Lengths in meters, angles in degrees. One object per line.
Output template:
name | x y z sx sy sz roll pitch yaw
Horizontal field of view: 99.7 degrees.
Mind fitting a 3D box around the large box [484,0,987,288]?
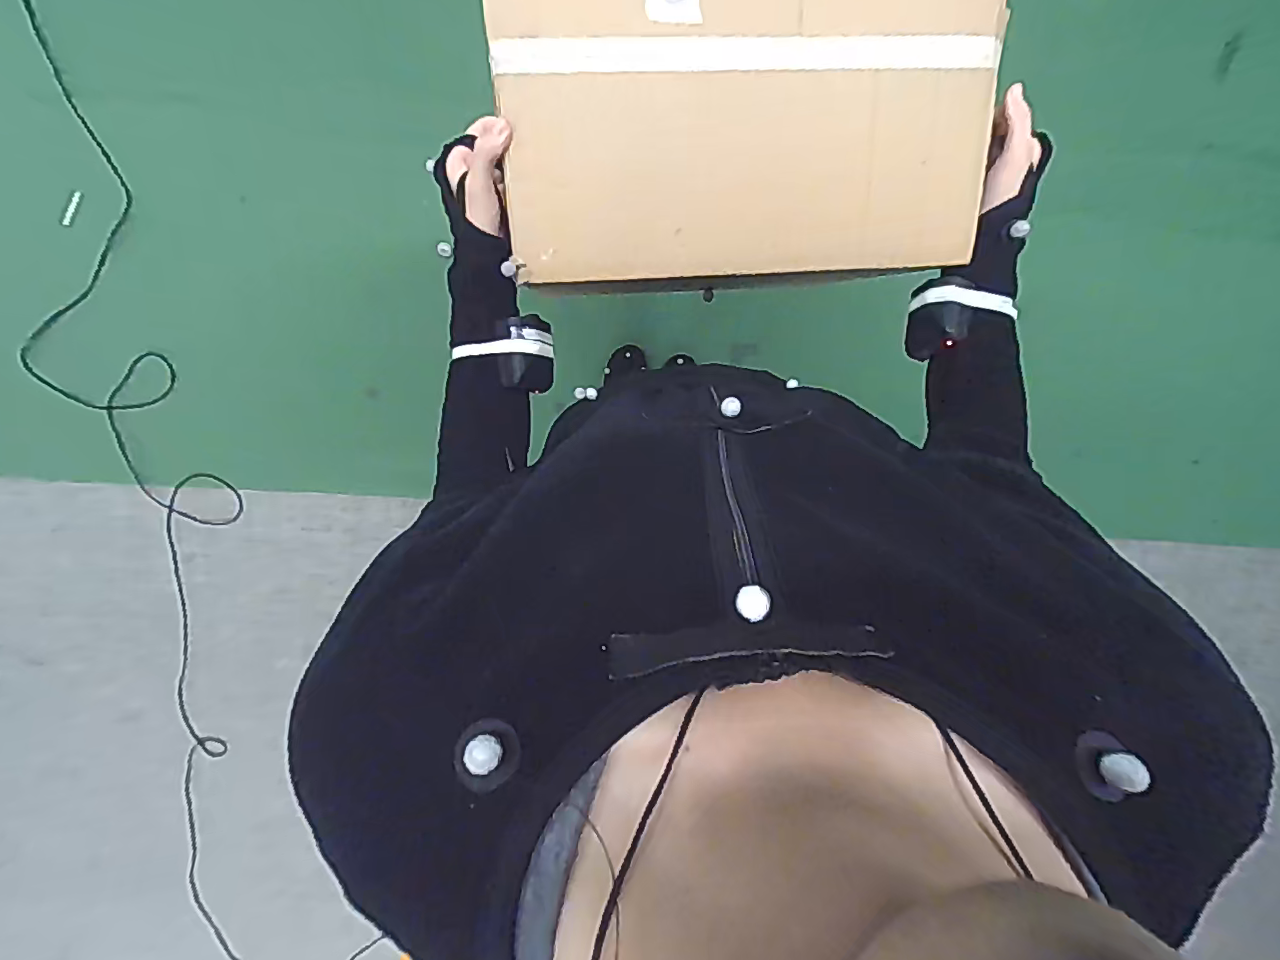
large box | 0.068 -0.379 0.571 0.408 0.320 0.320 -5 108 -5
